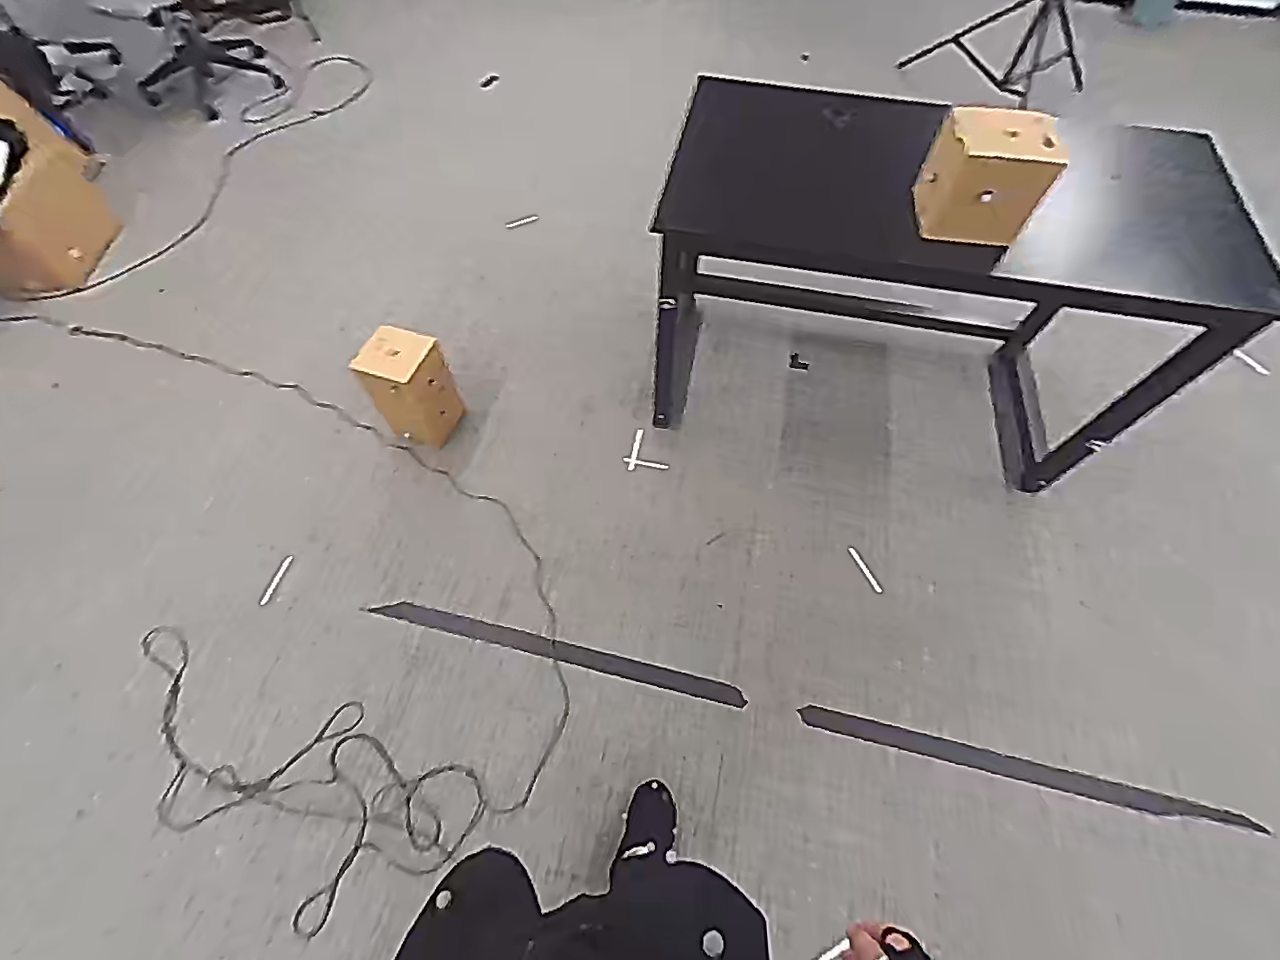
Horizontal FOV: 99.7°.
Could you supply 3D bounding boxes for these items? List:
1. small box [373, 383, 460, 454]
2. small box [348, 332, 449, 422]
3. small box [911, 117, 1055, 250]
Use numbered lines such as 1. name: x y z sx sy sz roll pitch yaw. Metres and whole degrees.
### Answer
1. small box: -0.681 -0.212 1.677 0.168 0.176 0.179 18 63 10
2. small box: -0.671 -0.285 1.529 0.179 0.176 0.168 16 61 9
3. small box: 0.650 -0.574 1.055 0.179 0.176 0.168 6 60 4
